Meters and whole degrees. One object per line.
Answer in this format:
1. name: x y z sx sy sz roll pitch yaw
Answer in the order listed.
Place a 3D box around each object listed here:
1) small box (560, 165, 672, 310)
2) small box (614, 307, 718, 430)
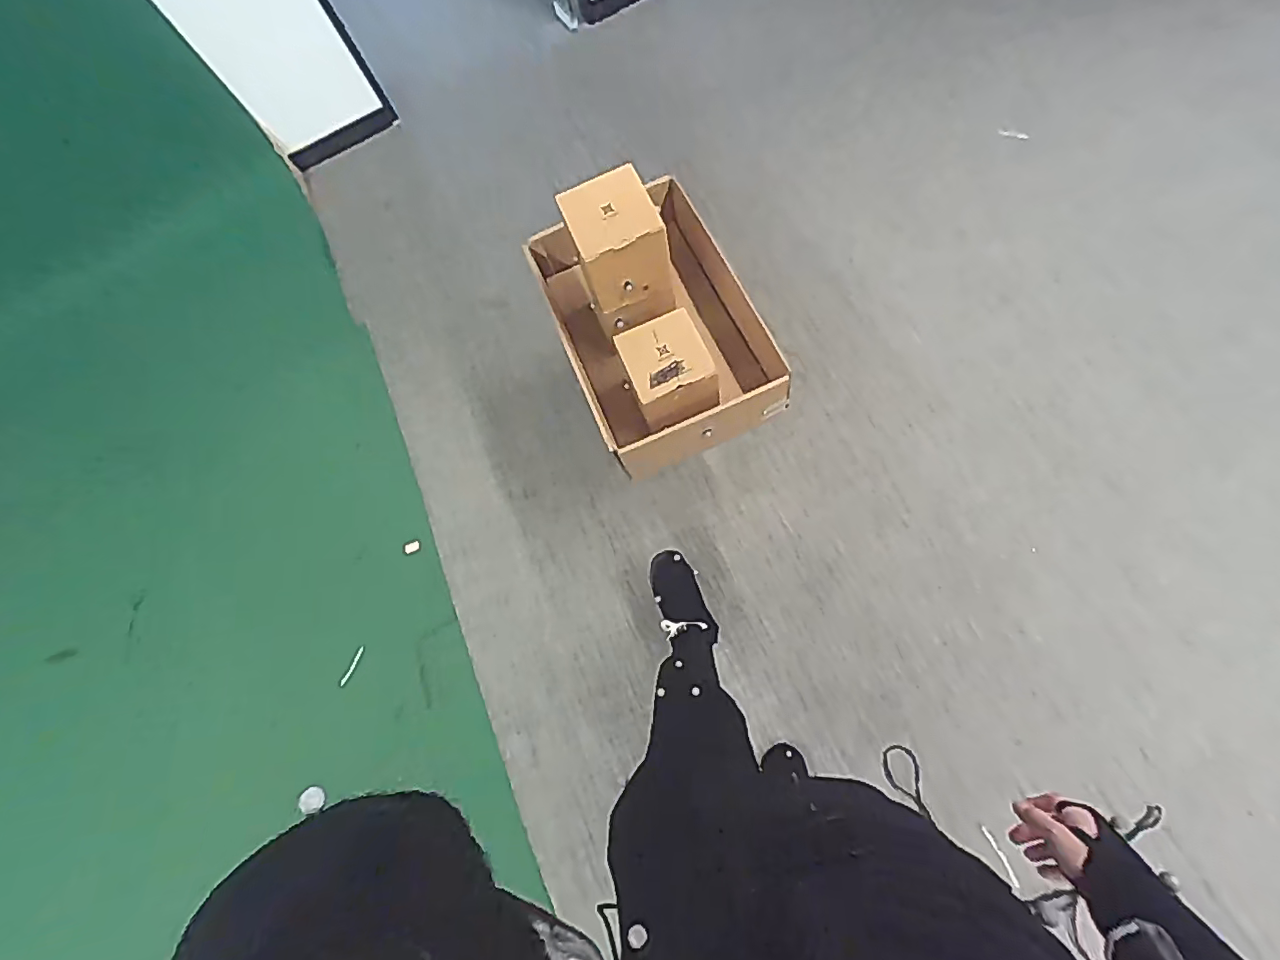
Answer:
1. small box: -0.043 -0.484 1.099 0.168 0.176 0.179 -23 71 1
2. small box: 0.063 -0.228 1.163 0.168 0.176 0.179 -22 67 1
